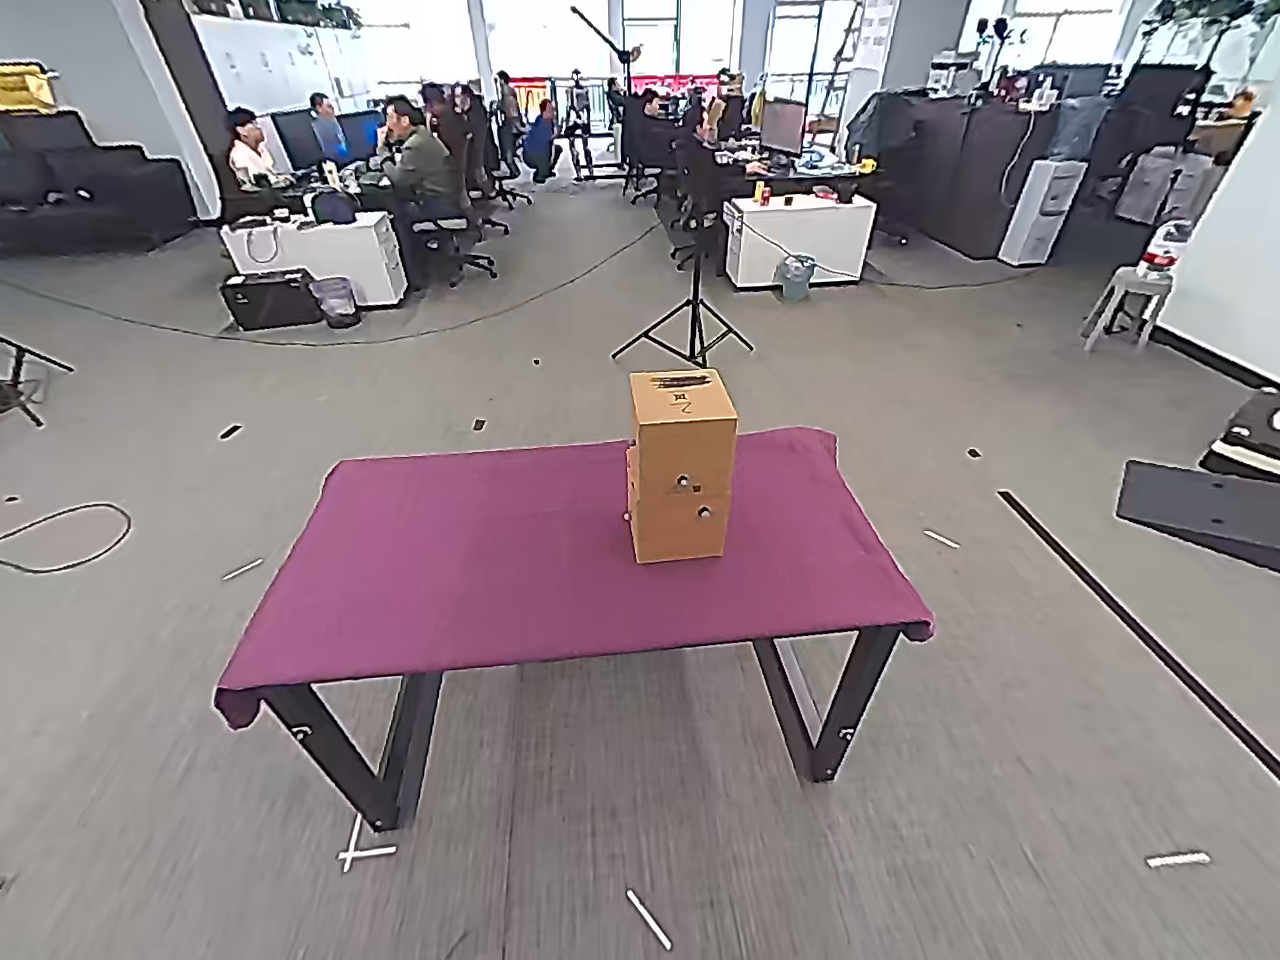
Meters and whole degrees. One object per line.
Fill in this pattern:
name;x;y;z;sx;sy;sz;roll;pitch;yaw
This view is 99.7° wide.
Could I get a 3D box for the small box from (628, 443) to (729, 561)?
small box;0.070;0.045;1.094;0.179;0.176;0.168;-6;38;-5
